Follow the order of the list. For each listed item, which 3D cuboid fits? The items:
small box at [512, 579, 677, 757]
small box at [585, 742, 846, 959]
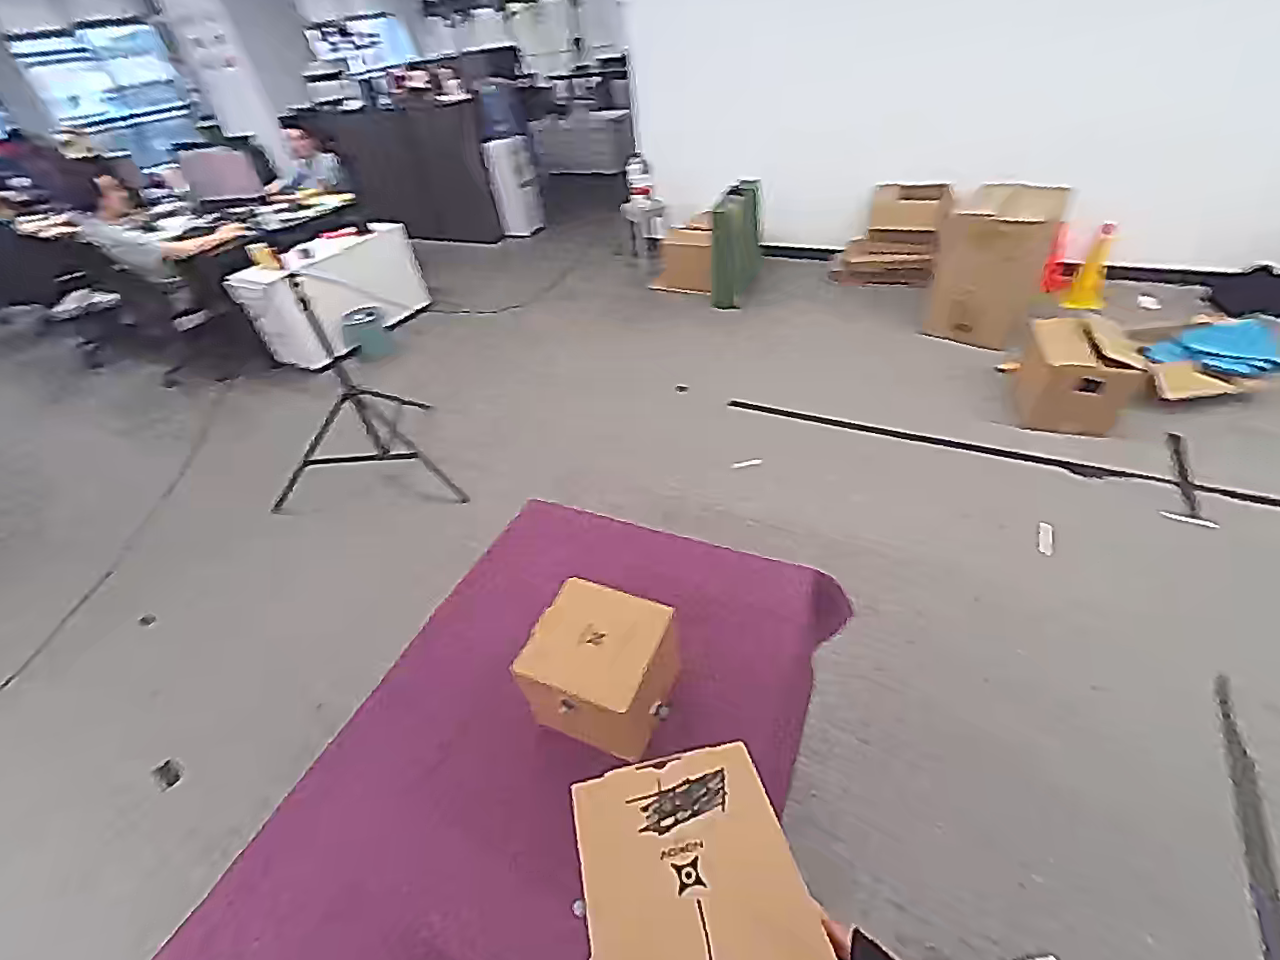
[{"bbox_3d":[-0.056,0.278,0.802,0.179,0.176,0.168,12,46,21],"label":"small box"},{"bbox_3d":[0.050,0.370,0.464,0.168,0.176,0.179,-10,28,-9],"label":"small box"}]
